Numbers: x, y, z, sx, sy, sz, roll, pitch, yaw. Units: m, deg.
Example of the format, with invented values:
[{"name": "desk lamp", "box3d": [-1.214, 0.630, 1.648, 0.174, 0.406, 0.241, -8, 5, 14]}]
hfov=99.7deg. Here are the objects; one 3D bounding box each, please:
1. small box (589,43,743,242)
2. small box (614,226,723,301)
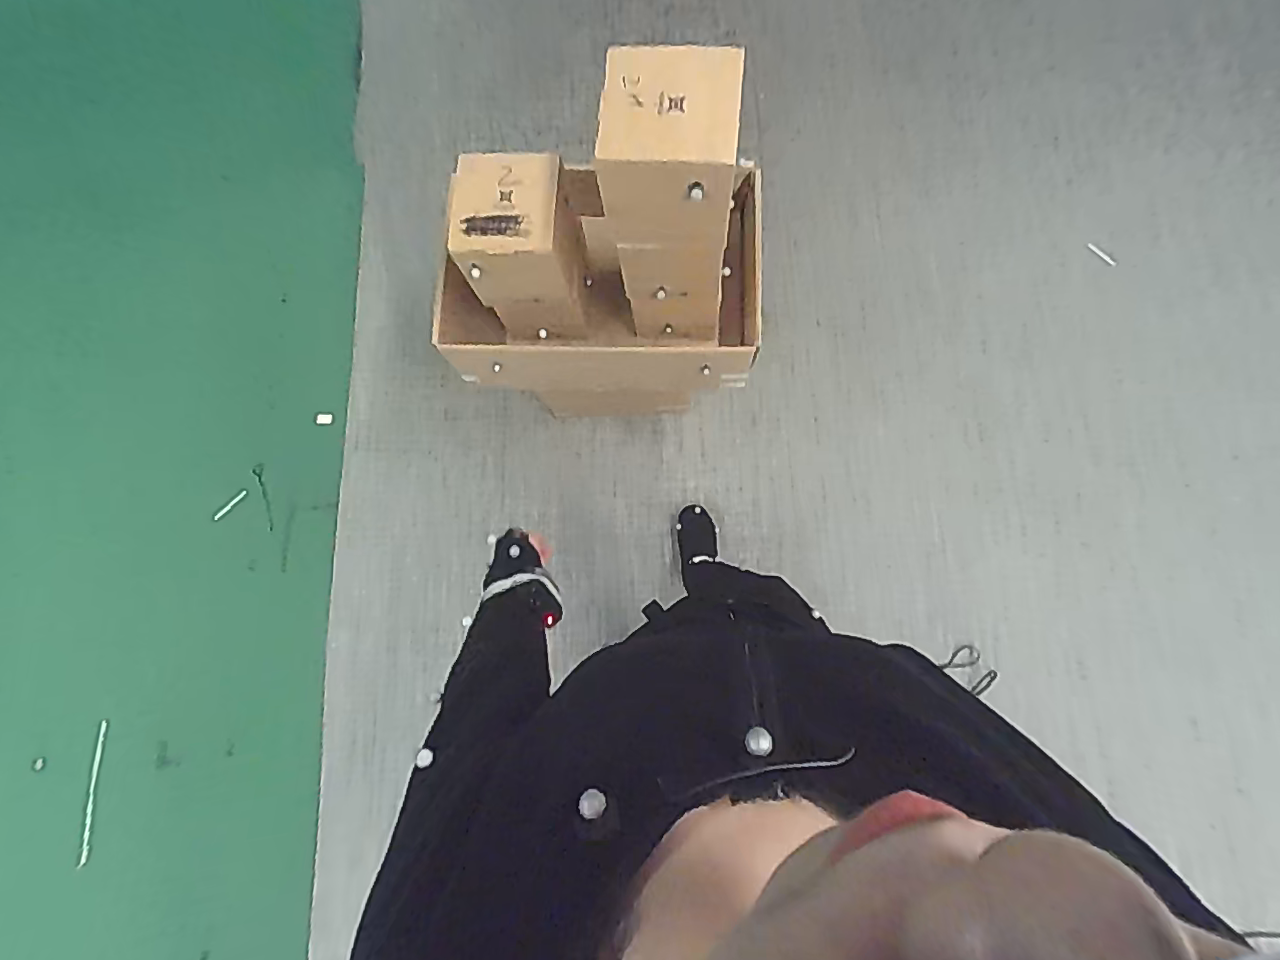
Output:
[{"name": "small box", "box3d": [0.040, -0.449, 0.741, 0.179, 0.176, 0.168, 5, 80, 7]}, {"name": "small box", "box3d": [0.054, -0.424, 0.903, 0.168, 0.176, 0.179, 4, 81, 6]}]
